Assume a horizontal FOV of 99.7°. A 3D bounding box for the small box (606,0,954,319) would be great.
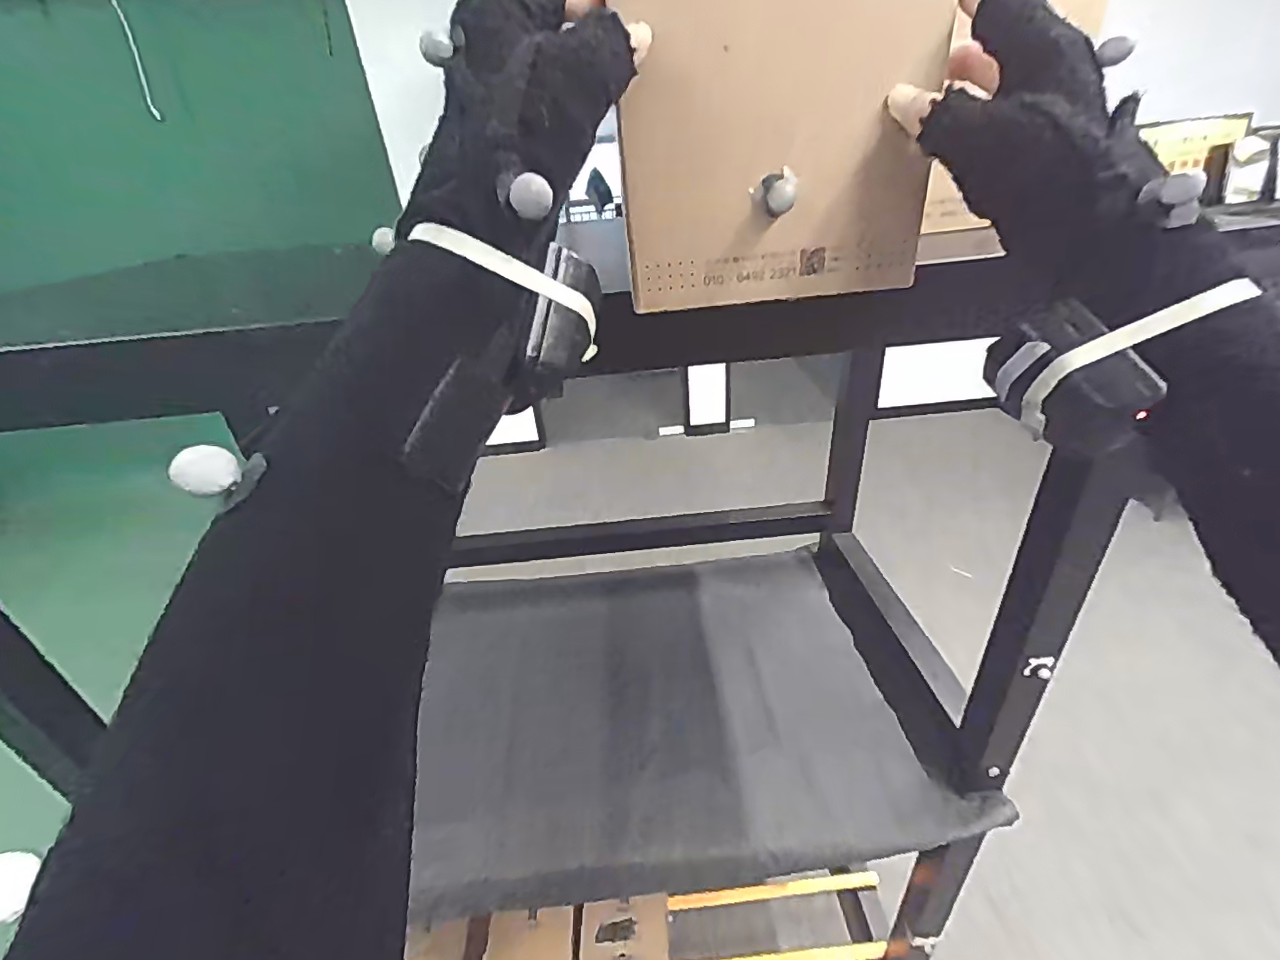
[{"bbox_3d":[0.069,-0.214,0.357,0.168,0.176,0.179,-5,32,1],"label":"small box"}]
